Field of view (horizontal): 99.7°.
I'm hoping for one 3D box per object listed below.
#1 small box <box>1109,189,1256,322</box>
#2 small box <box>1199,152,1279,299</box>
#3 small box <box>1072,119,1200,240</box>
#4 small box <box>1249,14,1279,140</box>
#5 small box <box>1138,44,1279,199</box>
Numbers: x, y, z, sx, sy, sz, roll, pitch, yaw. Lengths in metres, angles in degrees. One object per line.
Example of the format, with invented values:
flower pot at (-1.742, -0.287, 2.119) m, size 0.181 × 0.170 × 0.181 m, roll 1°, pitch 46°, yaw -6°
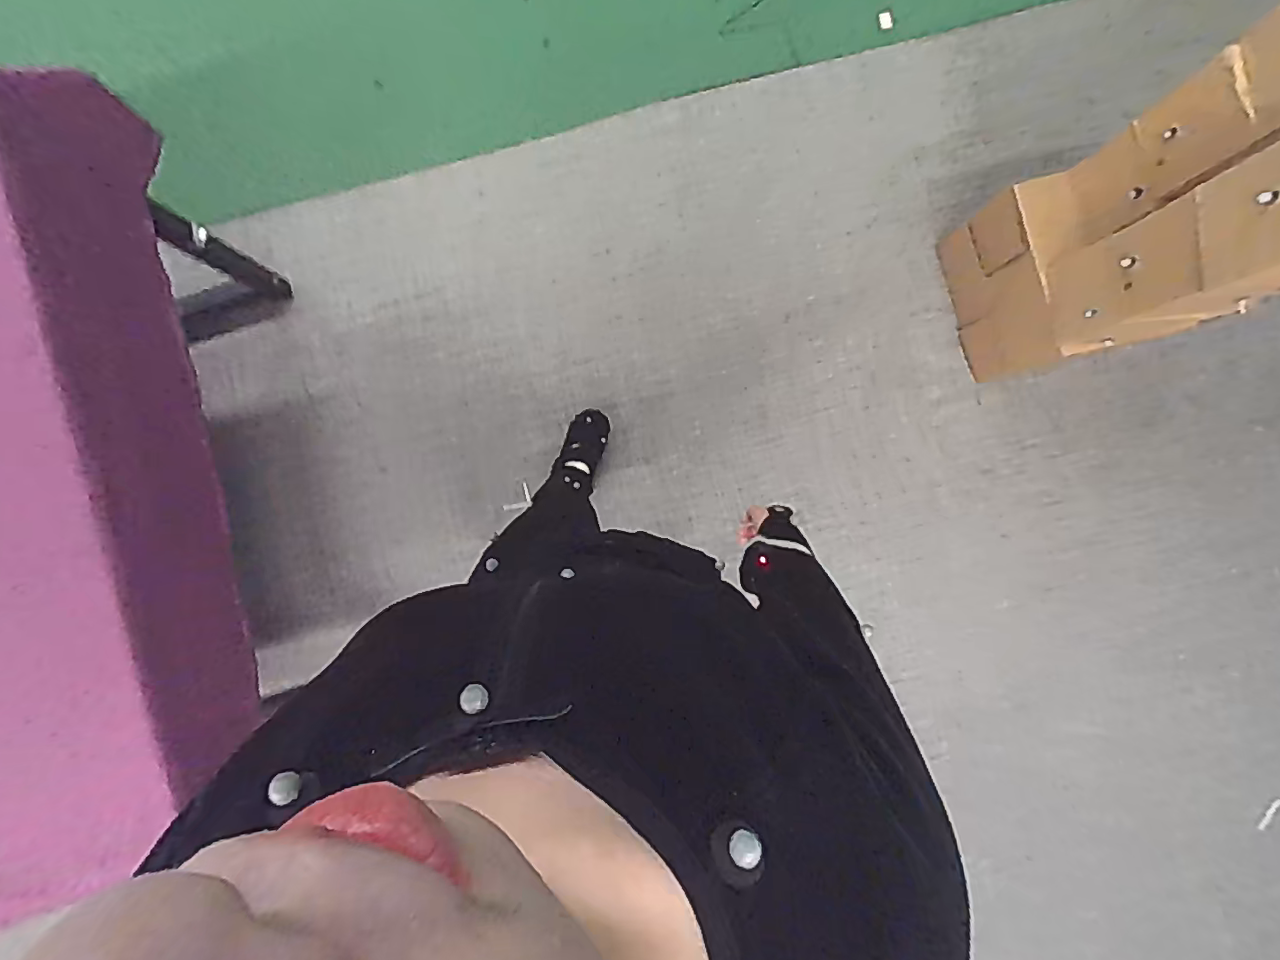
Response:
small box at (0.975, -0.384, 0.936) m, size 0.179 × 0.176 × 0.168 m, roll -6°, pitch 88°, yaw 0°
small box at (0.960, -0.375, 0.771) m, size 0.168 × 0.176 × 0.179 m, roll -1°, pitch 87°, yaw 0°
small box at (1.047, -0.619, 1.110) m, size 0.168 × 0.176 × 0.179 m, roll -16°, pitch 87°, yaw -2°
small box at (1.058, -0.639, 0.783) m, size 0.168 × 0.176 × 0.179 m, roll -9°, pitch 88°, yaw 0°
small box at (1.048, -0.630, 0.948) m, size 0.179 × 0.176 × 0.168 m, roll -14°, pitch 88°, yaw 0°
